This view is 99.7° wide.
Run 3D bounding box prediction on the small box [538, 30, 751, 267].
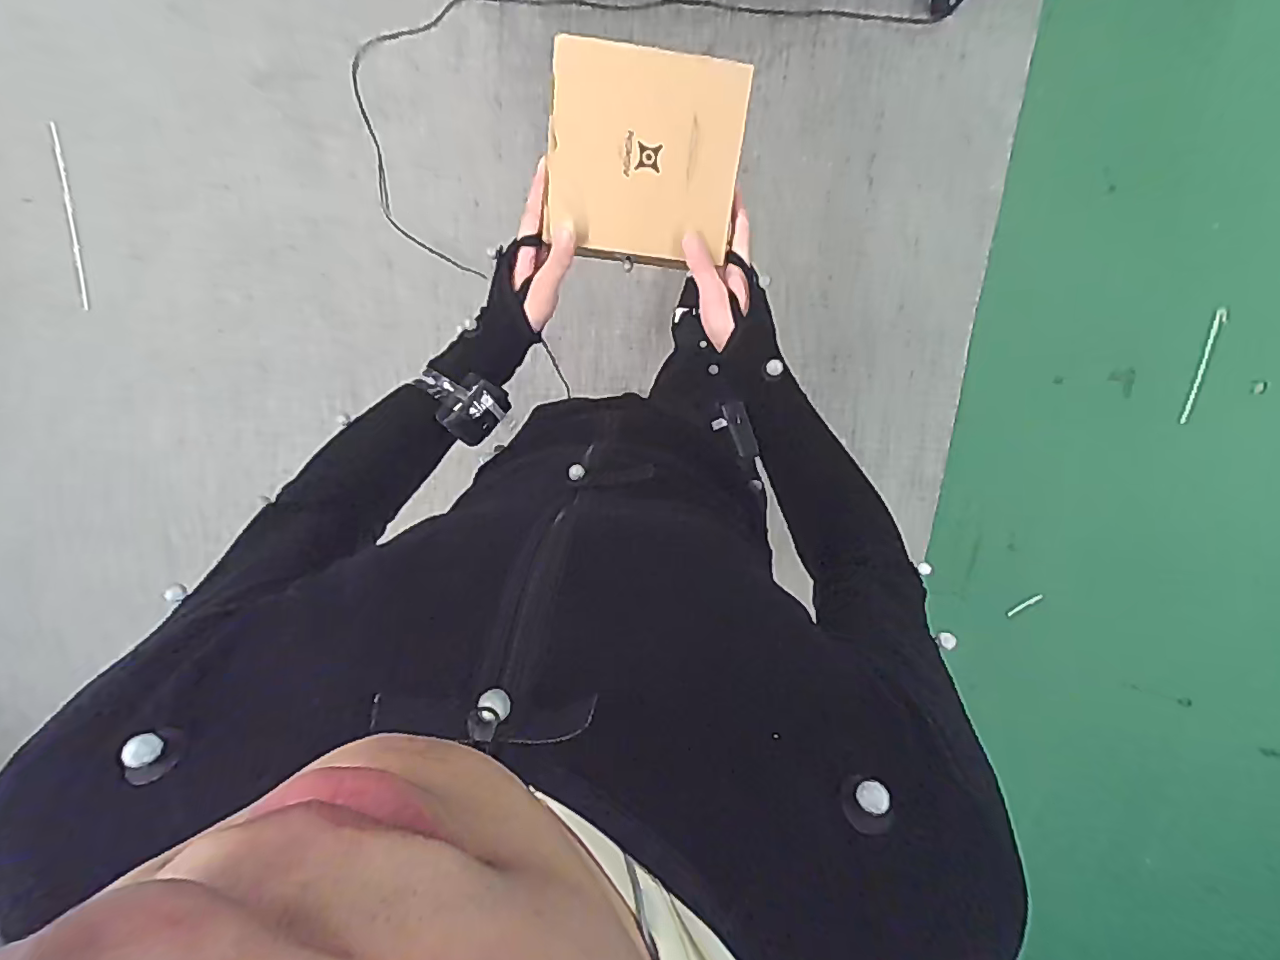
[{"bbox_3d":[-0.001,-0.321,0.562,0.179,0.176,0.168,6,109,-4],"label":"small box"}]
